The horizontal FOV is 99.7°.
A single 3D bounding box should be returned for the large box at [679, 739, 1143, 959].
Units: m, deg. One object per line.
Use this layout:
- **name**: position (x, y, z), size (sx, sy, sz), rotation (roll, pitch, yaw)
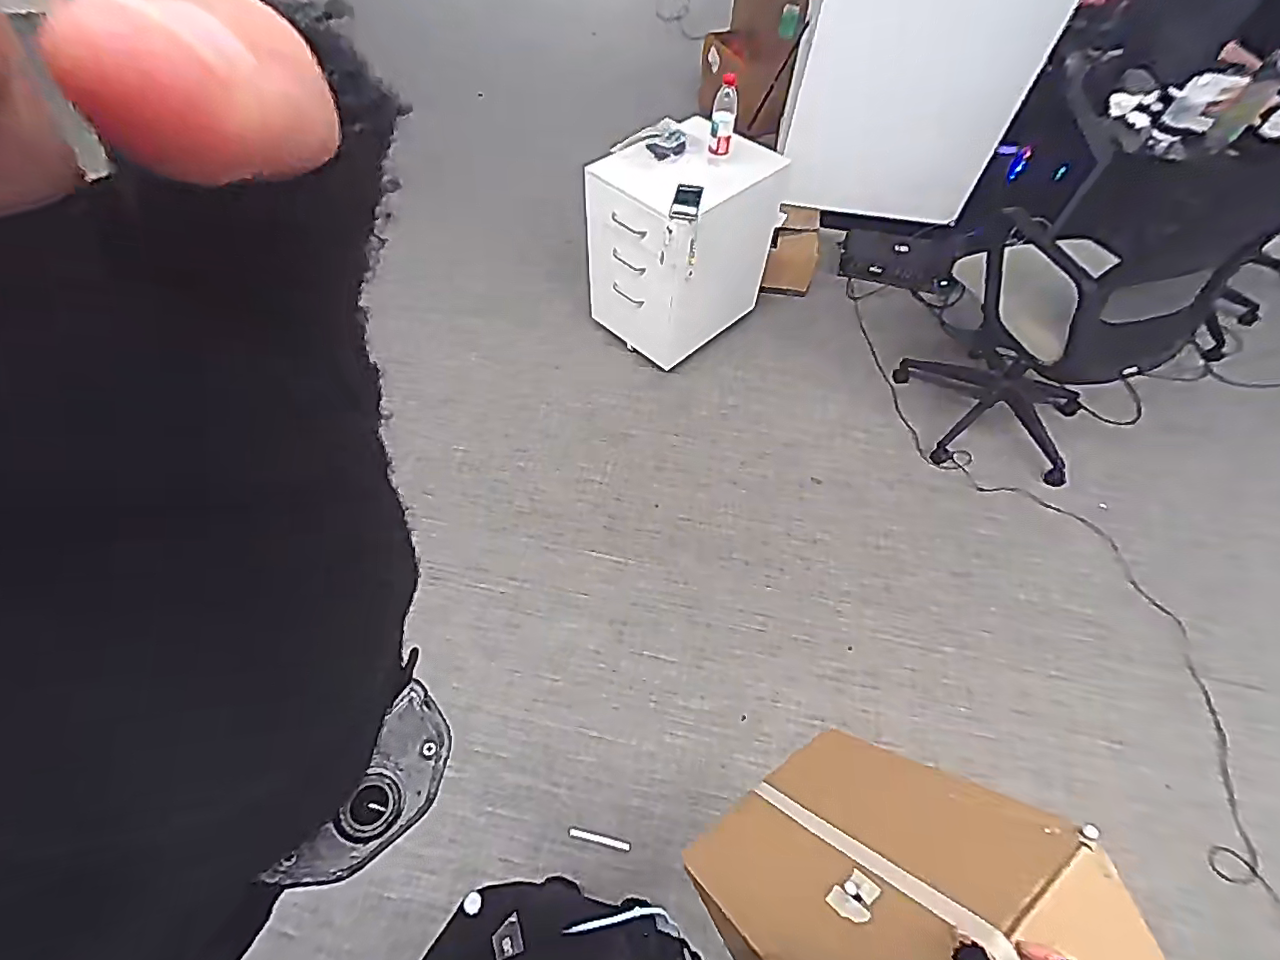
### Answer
- **large box**: position (0.311, 0.587, 0.649), size (0.320, 0.408, 0.320), rotation (-28, 91, -21)
